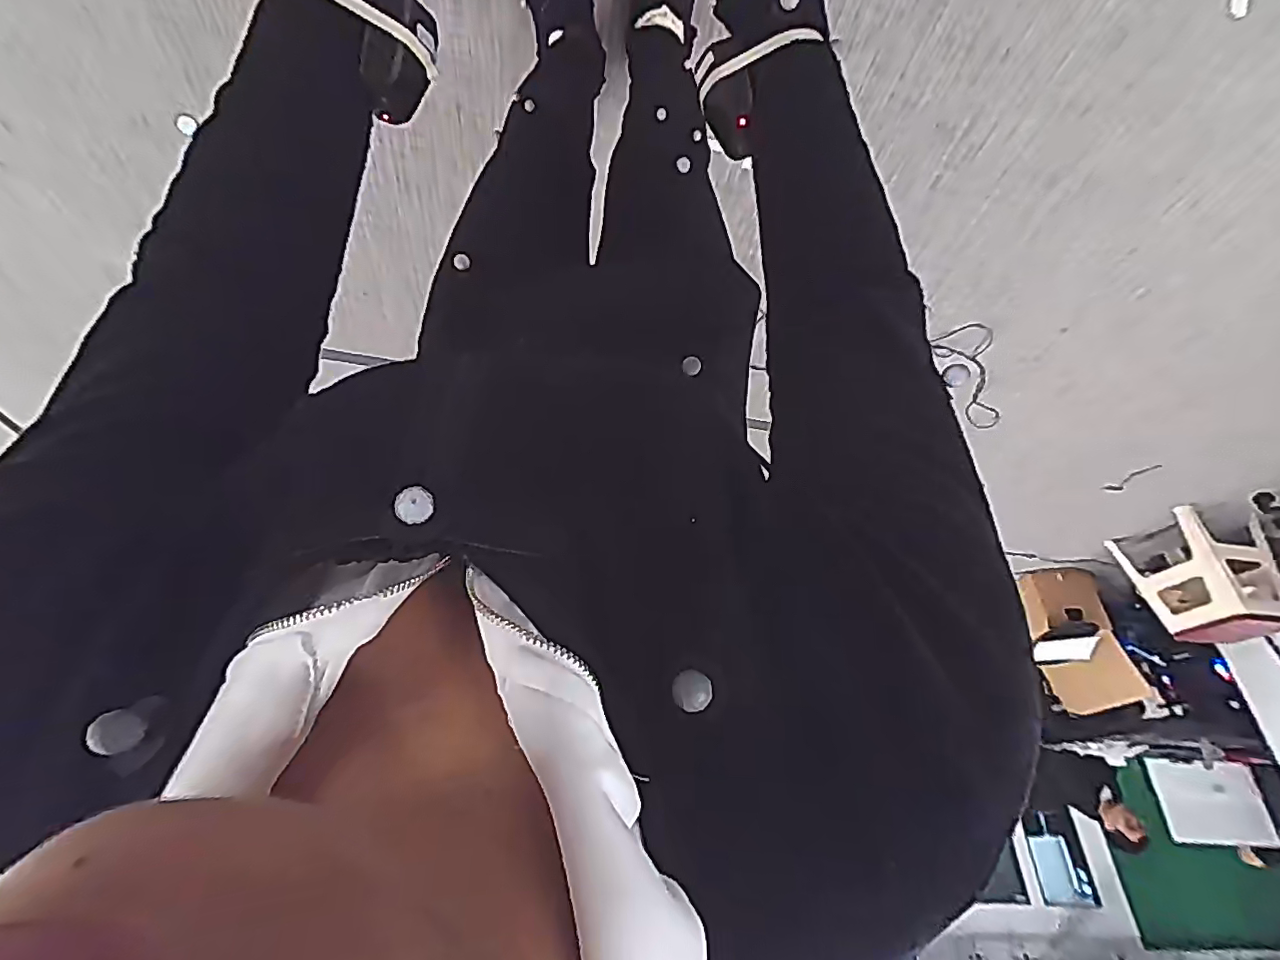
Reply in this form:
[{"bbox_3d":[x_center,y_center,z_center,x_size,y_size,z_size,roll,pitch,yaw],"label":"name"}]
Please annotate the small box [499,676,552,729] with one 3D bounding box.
[{"bbox_3d":[-0.446,0.877,2.131,0.179,0.176,0.168,4,148,-5],"label":"small box"}]
